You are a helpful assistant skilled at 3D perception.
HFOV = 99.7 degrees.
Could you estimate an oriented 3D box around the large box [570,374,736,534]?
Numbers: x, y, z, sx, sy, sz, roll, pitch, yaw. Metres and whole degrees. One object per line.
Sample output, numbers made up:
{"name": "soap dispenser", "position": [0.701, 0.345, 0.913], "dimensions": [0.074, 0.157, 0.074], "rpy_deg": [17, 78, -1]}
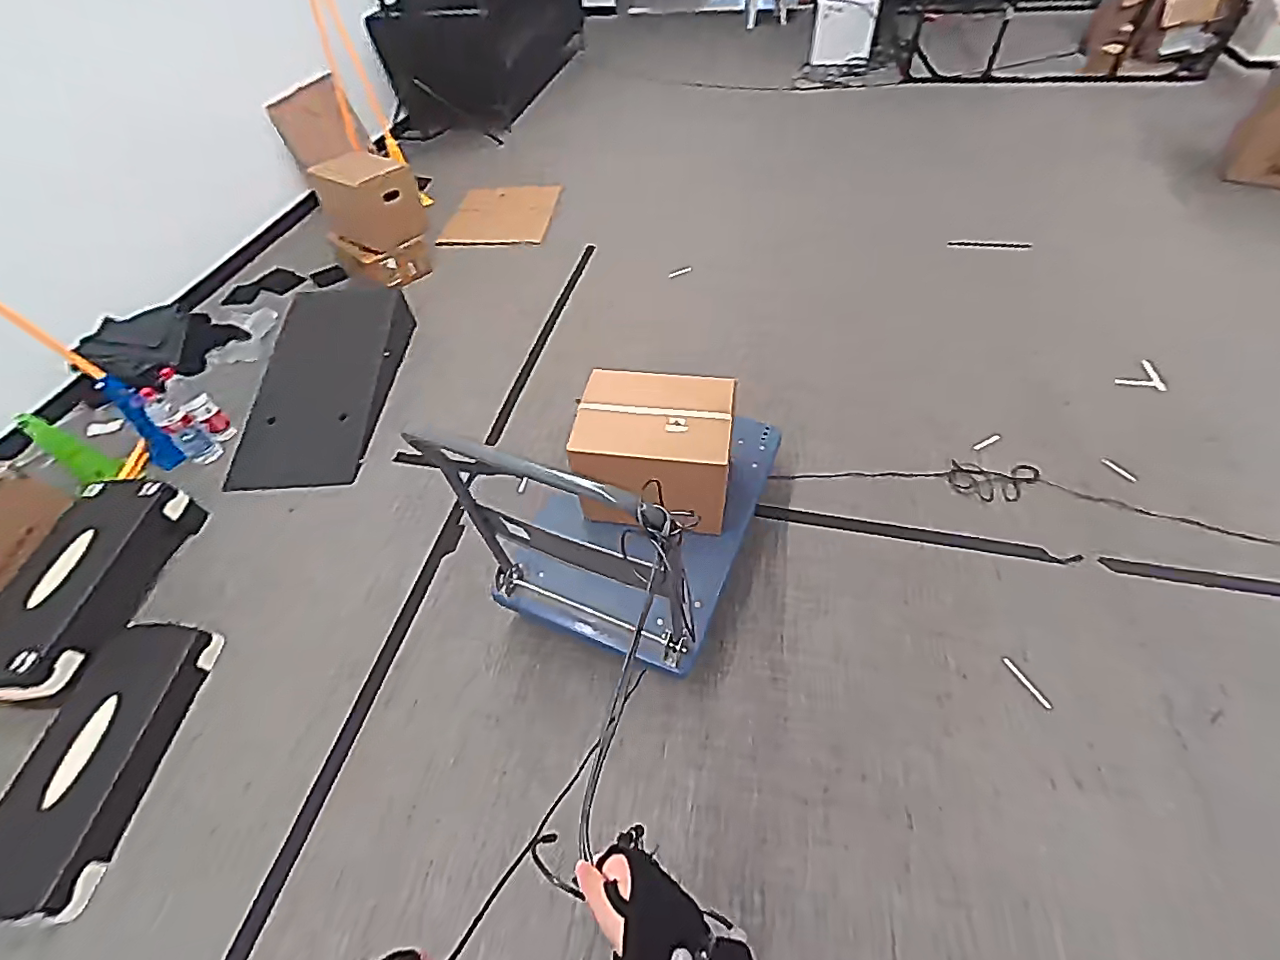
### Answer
{"name": "large box", "position": [0.048, -0.072, 1.523], "dimensions": [0.408, 0.320, 0.320], "rpy_deg": [6, 53, 9]}
